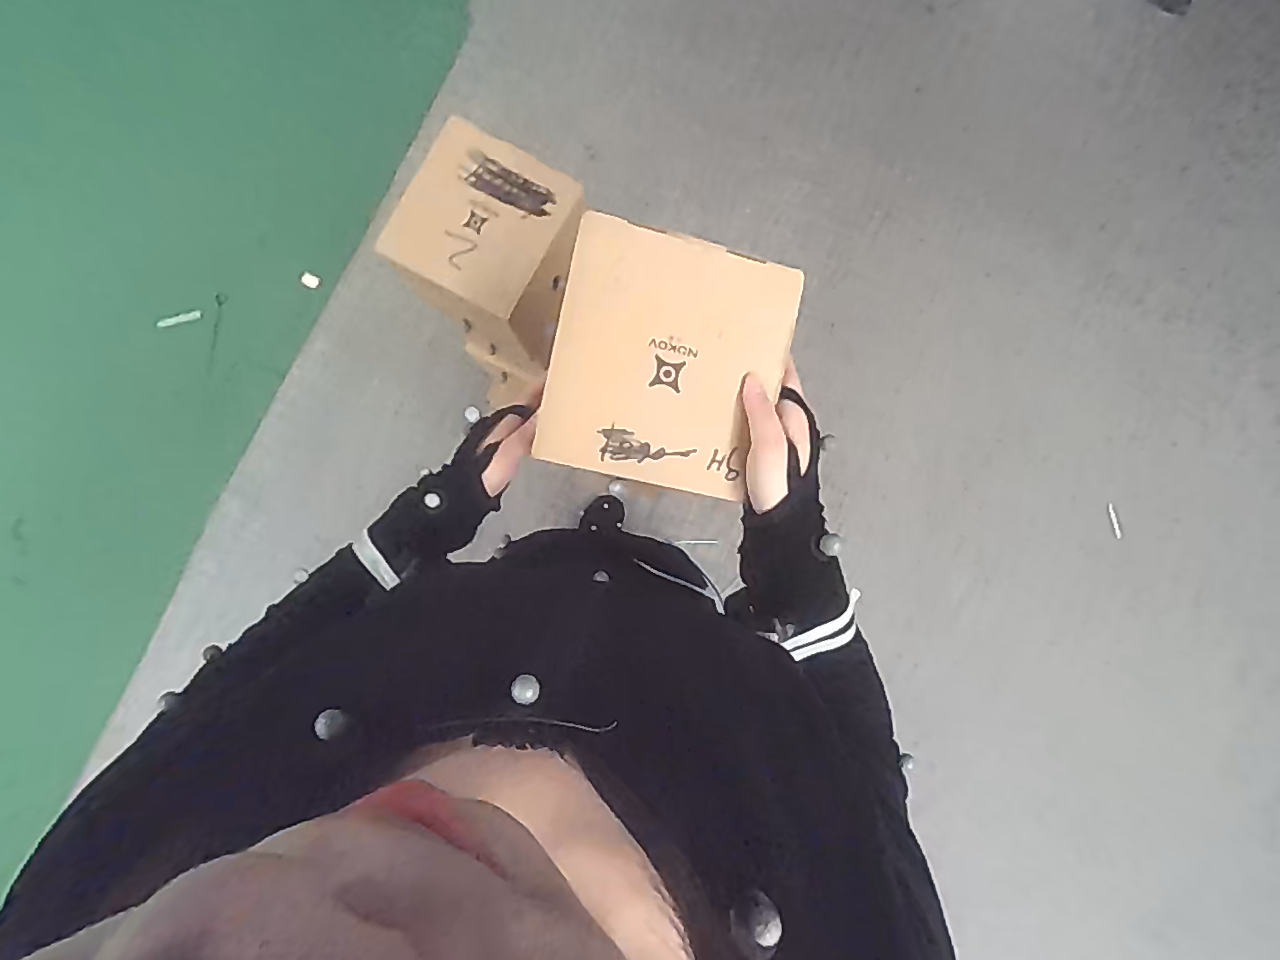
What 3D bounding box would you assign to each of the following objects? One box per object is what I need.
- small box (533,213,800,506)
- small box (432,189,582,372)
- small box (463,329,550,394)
[{"bbox_3d":[0.010,-0.087,0.463,0.168,0.176,0.179,13,92,-8],"label":"small box"},{"bbox_3d":[-0.178,-0.288,0.825,0.168,0.176,0.179,29,87,-2],"label":"small box"},{"bbox_3d":[-0.190,-0.269,0.989,0.168,0.176,0.179,27,87,-1],"label":"small box"}]
